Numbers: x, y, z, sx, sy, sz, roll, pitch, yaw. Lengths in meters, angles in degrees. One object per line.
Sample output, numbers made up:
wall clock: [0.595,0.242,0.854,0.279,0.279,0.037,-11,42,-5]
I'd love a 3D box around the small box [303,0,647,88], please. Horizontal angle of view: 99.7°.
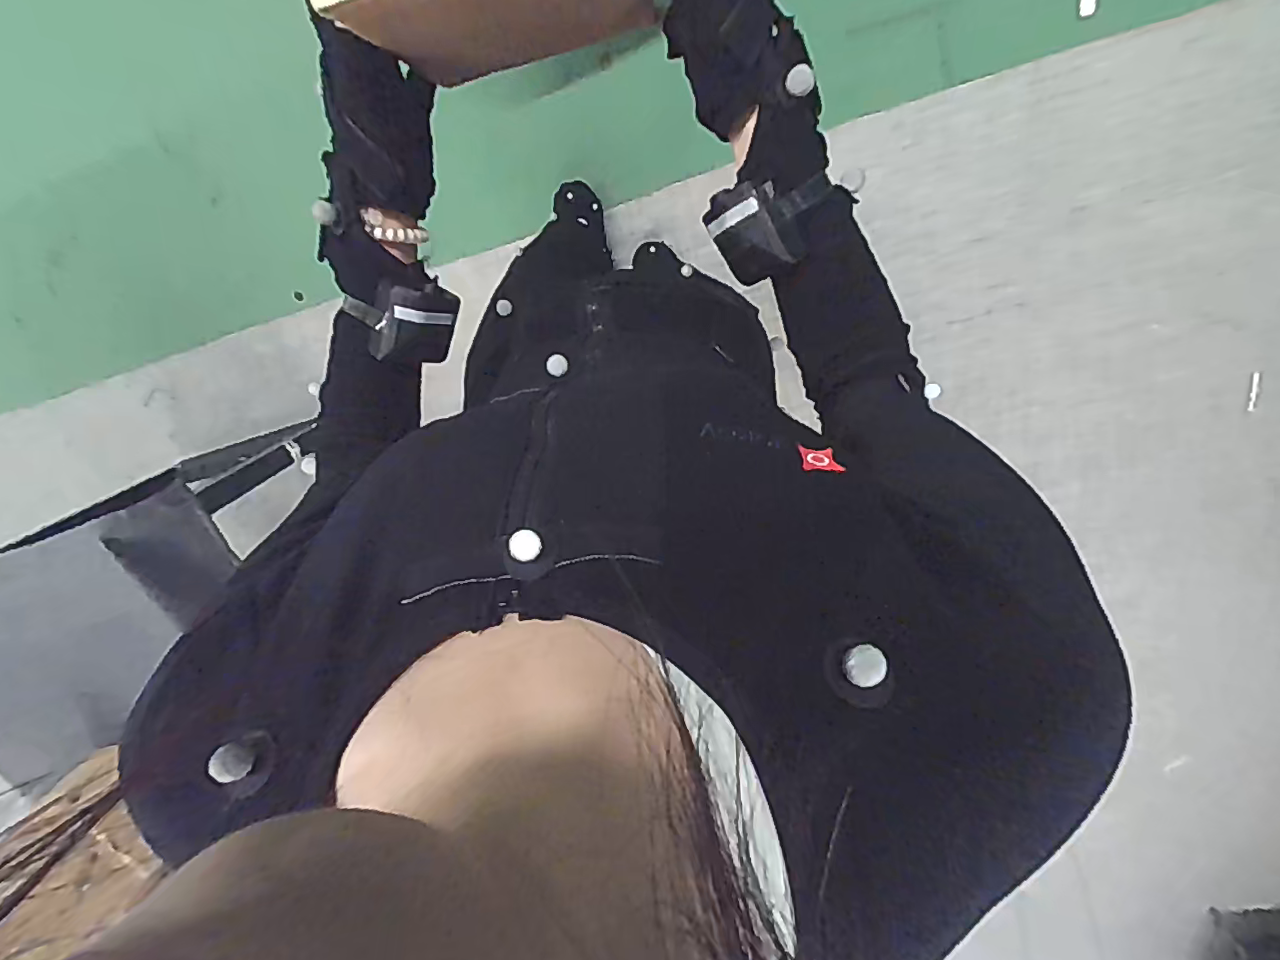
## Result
small box: [-0.098,-0.355,0.306,0.179,0.176,0.168,-12,113,7]

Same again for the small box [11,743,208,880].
small box: [-0.969,0.623,1.013,0.179,0.176,0.168,-15,113,11]

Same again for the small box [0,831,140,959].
small box: [-0.987,0.706,0.872,0.179,0.176,0.168,-17,113,10]
